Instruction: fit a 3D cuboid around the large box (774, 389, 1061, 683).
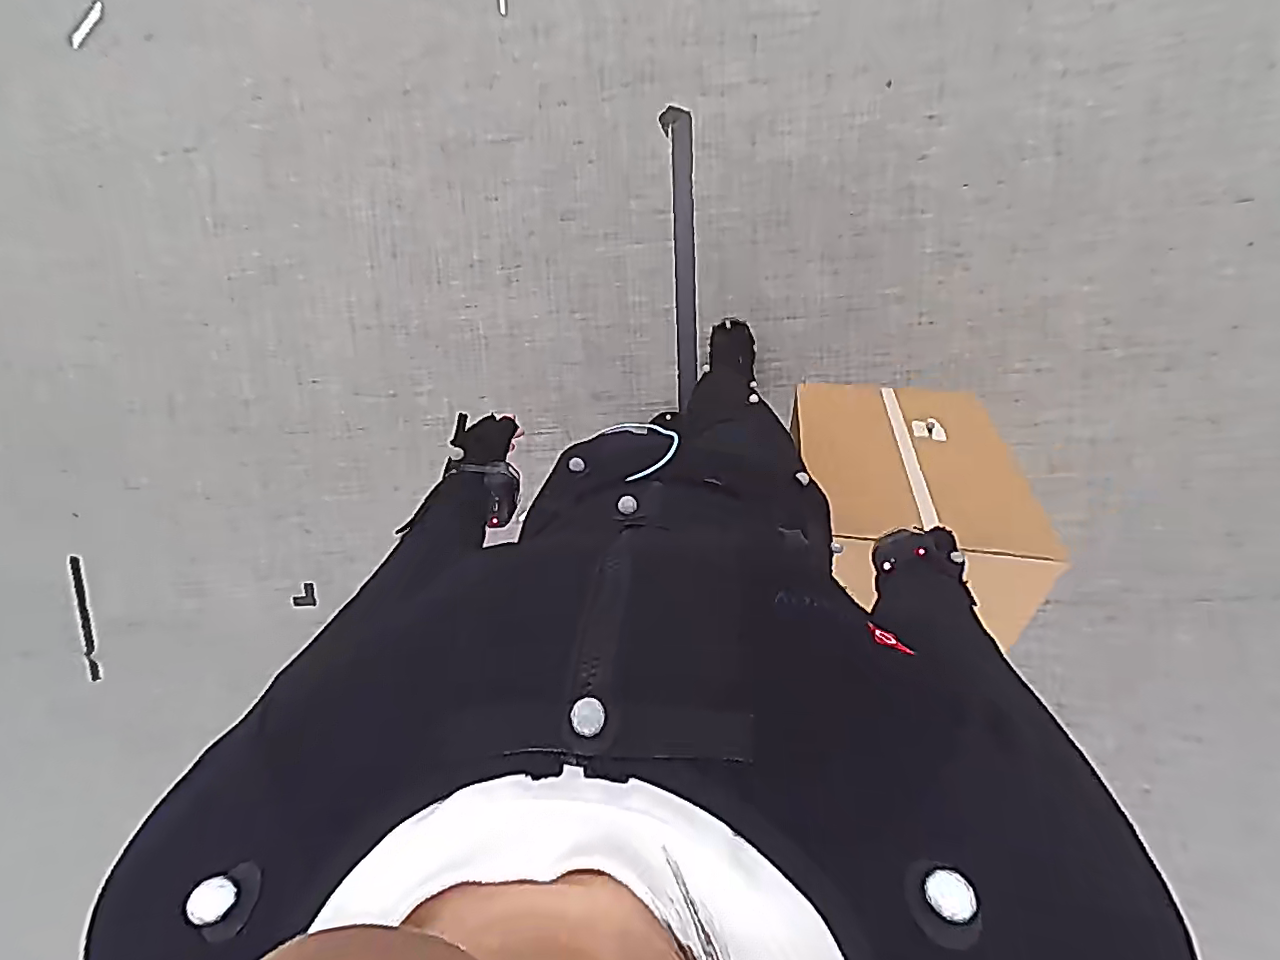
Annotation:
[{"bbox_3d":[0.411,0.079,0.936,0.320,0.408,0.320,6,128,8],"label":"large box"}]
